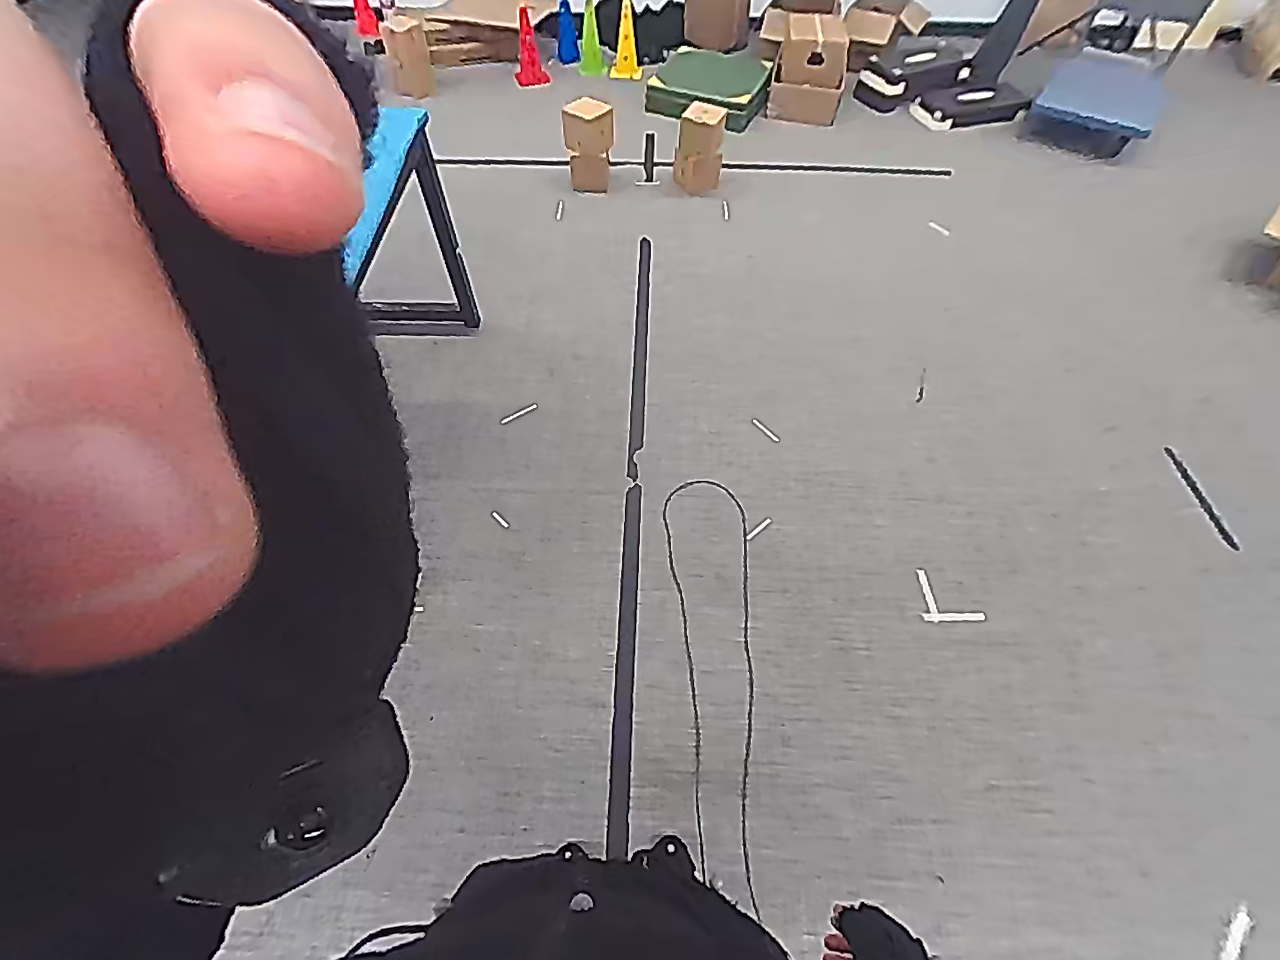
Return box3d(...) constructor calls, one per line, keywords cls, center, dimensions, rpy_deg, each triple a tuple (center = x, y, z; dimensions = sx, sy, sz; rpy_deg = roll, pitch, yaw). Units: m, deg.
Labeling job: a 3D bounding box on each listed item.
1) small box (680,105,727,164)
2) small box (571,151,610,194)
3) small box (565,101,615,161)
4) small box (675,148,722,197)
box3d(cls="small box", center=(0.295, -1.623, 2.547), dimensions=(0.168, 0.176, 0.179), rpy_deg=(22, 58, 11))
box3d(cls="small box", center=(-0.240, -1.539, 2.672), dimensions=(0.179, 0.176, 0.168), rpy_deg=(3, 56, 2))
box3d(cls="small box", center=(-0.236, -1.642, 2.539), dimensions=(0.179, 0.176, 0.168), rpy_deg=(33, 61, 20))
box3d(cls="small box", center=(0.286, -1.543, 2.689), dimensions=(0.179, 0.176, 0.168), rpy_deg=(-24, 62, -16))
